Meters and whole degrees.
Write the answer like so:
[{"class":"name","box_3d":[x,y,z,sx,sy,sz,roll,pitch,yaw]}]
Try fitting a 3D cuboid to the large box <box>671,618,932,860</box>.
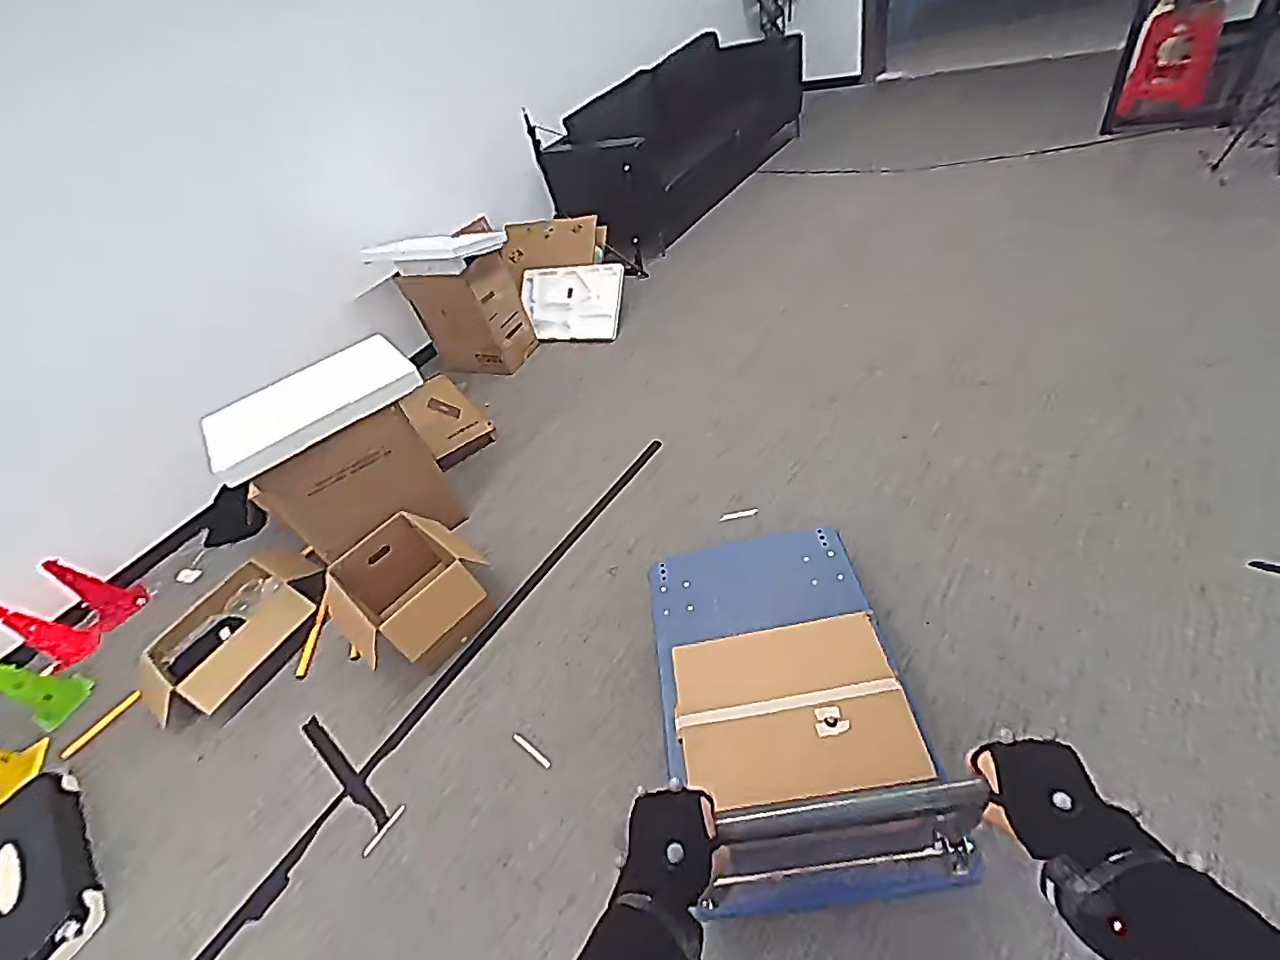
[{"class":"large box","box_3d":[0.300,0.528,1.093,0.408,0.320,0.320,-12,44,6]}]
